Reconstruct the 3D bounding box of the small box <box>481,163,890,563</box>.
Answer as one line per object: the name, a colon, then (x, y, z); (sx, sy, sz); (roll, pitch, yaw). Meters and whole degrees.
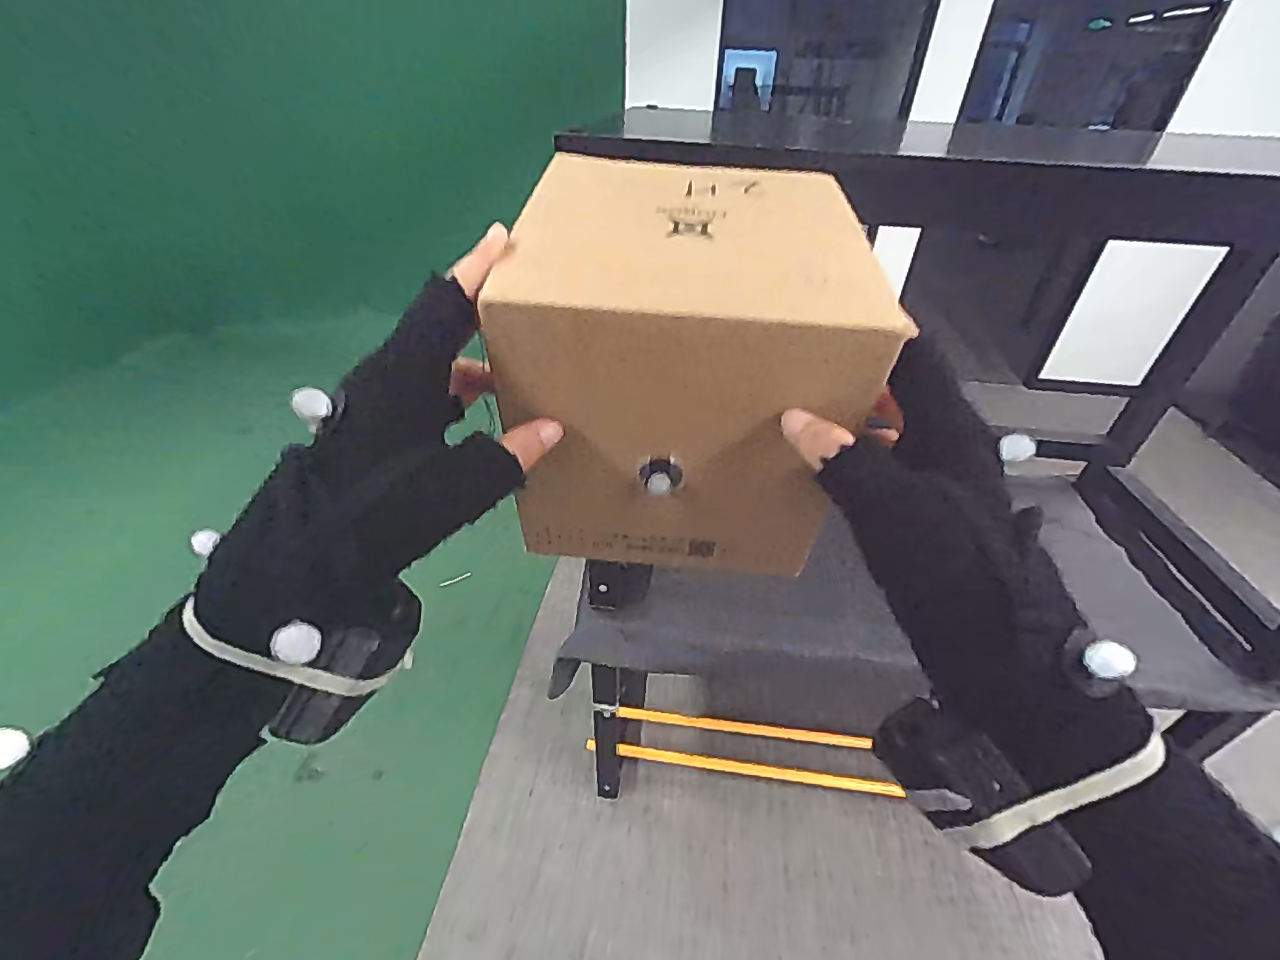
small box: (0.021, -0.069, 0.325); (0.168, 0.176, 0.179); (5, 45, 1)
